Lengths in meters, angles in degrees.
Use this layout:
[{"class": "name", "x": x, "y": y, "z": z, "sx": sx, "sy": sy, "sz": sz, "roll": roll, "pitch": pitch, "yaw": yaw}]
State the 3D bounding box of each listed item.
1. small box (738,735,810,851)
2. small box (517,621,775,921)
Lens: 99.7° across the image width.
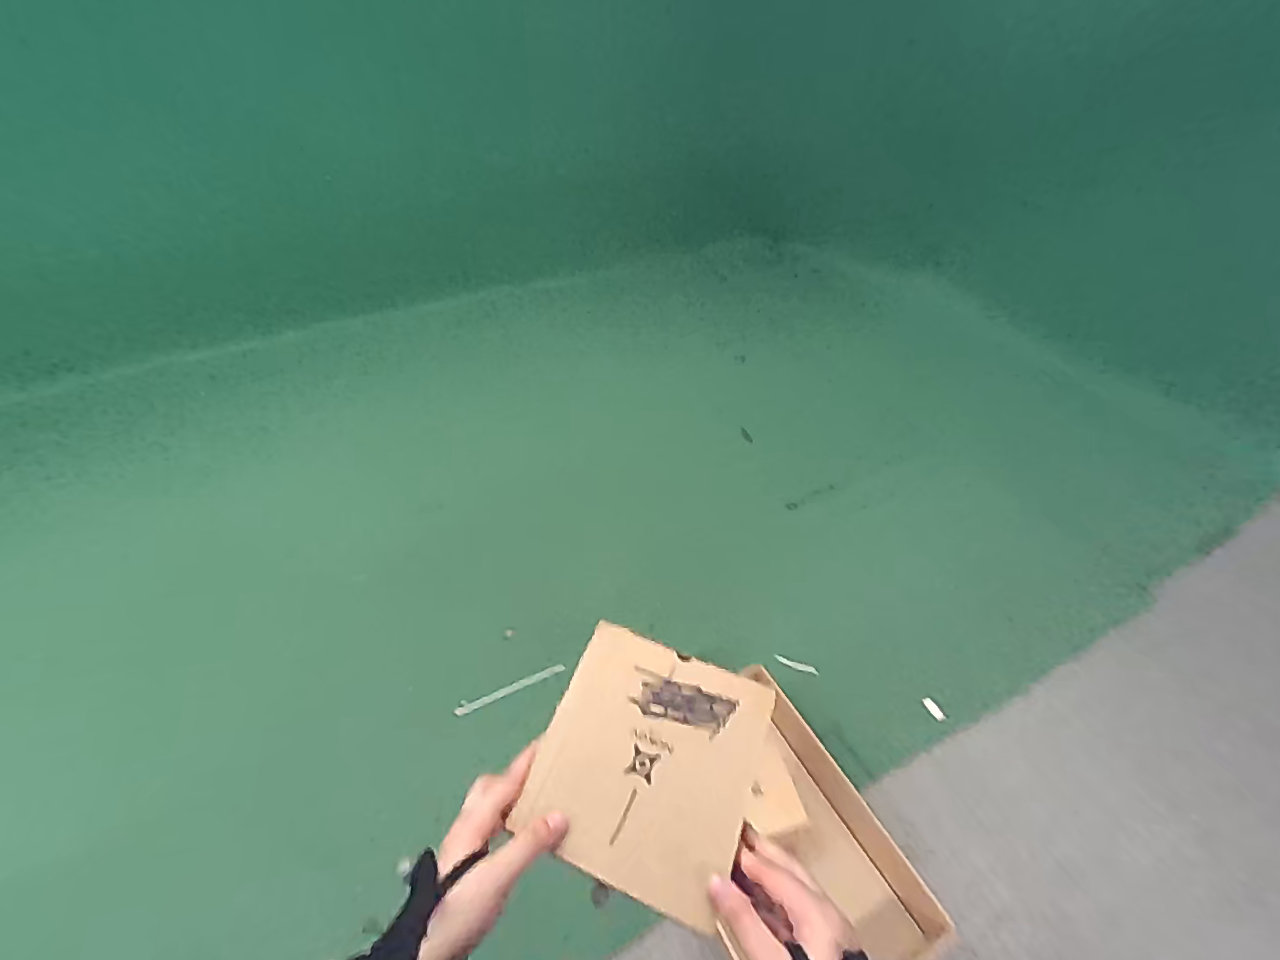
[{"class": "small box", "x": 0.258, "y": 0.715, "z": 1.228, "sx": 0.168, "sy": 0.176, "sz": 0.179, "roll": -11, "pitch": 46, "yaw": -11}, {"class": "small box", "x": 0.012, "y": 0.266, "z": 0.499, "sx": 0.168, "sy": 0.176, "sz": 0.179, "roll": 16, "pitch": 53, "yaw": 14}]
